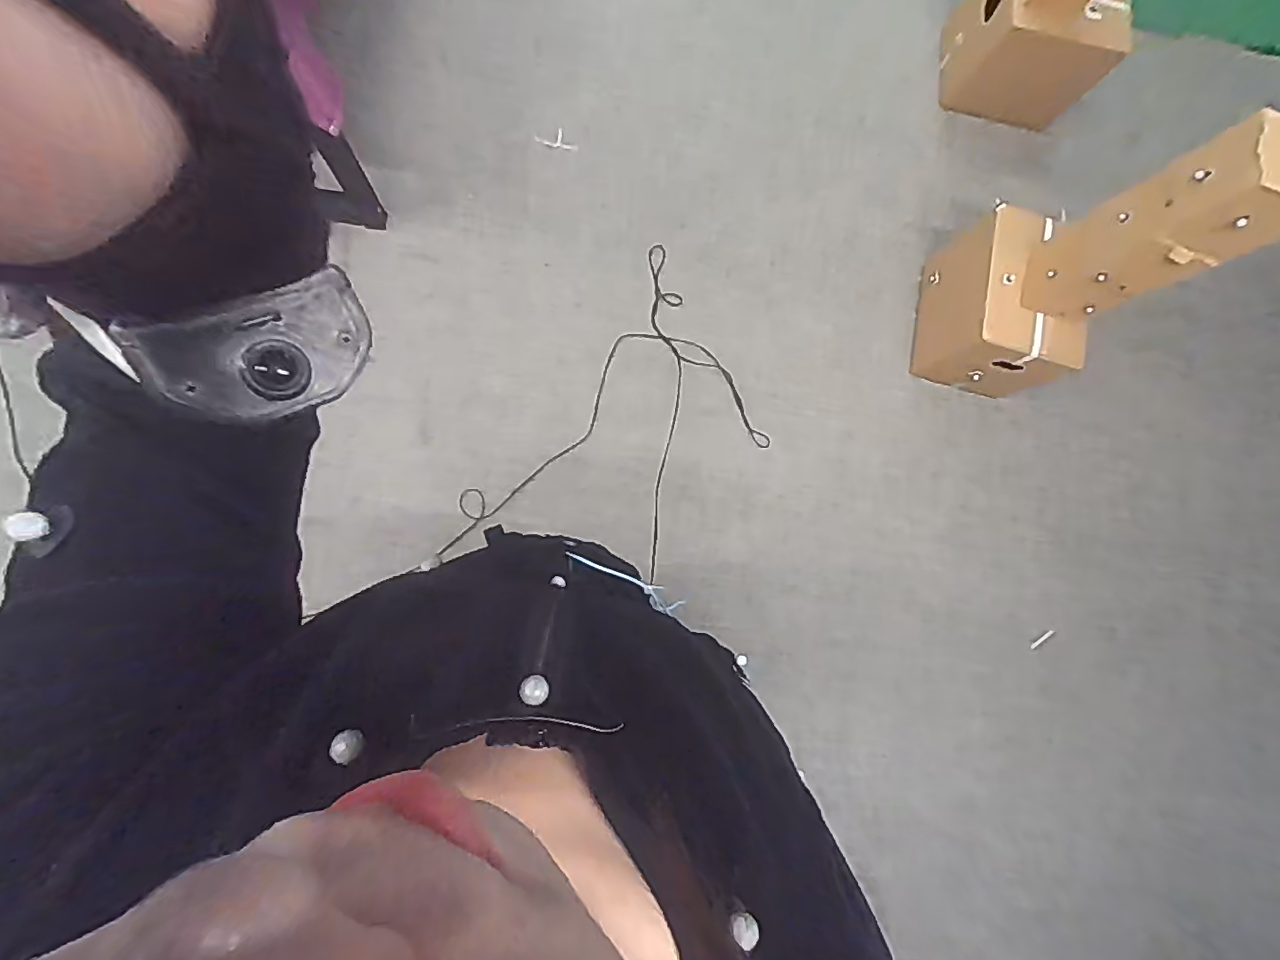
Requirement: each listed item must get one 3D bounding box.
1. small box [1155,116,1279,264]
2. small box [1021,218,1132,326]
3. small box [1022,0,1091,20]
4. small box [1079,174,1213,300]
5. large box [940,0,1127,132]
[{"bbox_3d":[1.183,-0.560,1.070,0.179,0.176,0.168,18,81,-8],"label":"small box"},{"bbox_3d":[1.127,-0.524,1.392,0.168,0.176,0.179,18,81,-8],"label":"small box"},{"bbox_3d":[1.215,-1.451,1.518,0.179,0.176,0.168,10,82,-8],"label":"small box"},{"bbox_3d":[1.151,-0.540,1.230,0.168,0.176,0.179,19,80,-8],"label":"small box"},{"bbox_3d":[1.266,-1.421,1.770,0.408,0.320,0.320,7,82,-9],"label":"large box"}]
